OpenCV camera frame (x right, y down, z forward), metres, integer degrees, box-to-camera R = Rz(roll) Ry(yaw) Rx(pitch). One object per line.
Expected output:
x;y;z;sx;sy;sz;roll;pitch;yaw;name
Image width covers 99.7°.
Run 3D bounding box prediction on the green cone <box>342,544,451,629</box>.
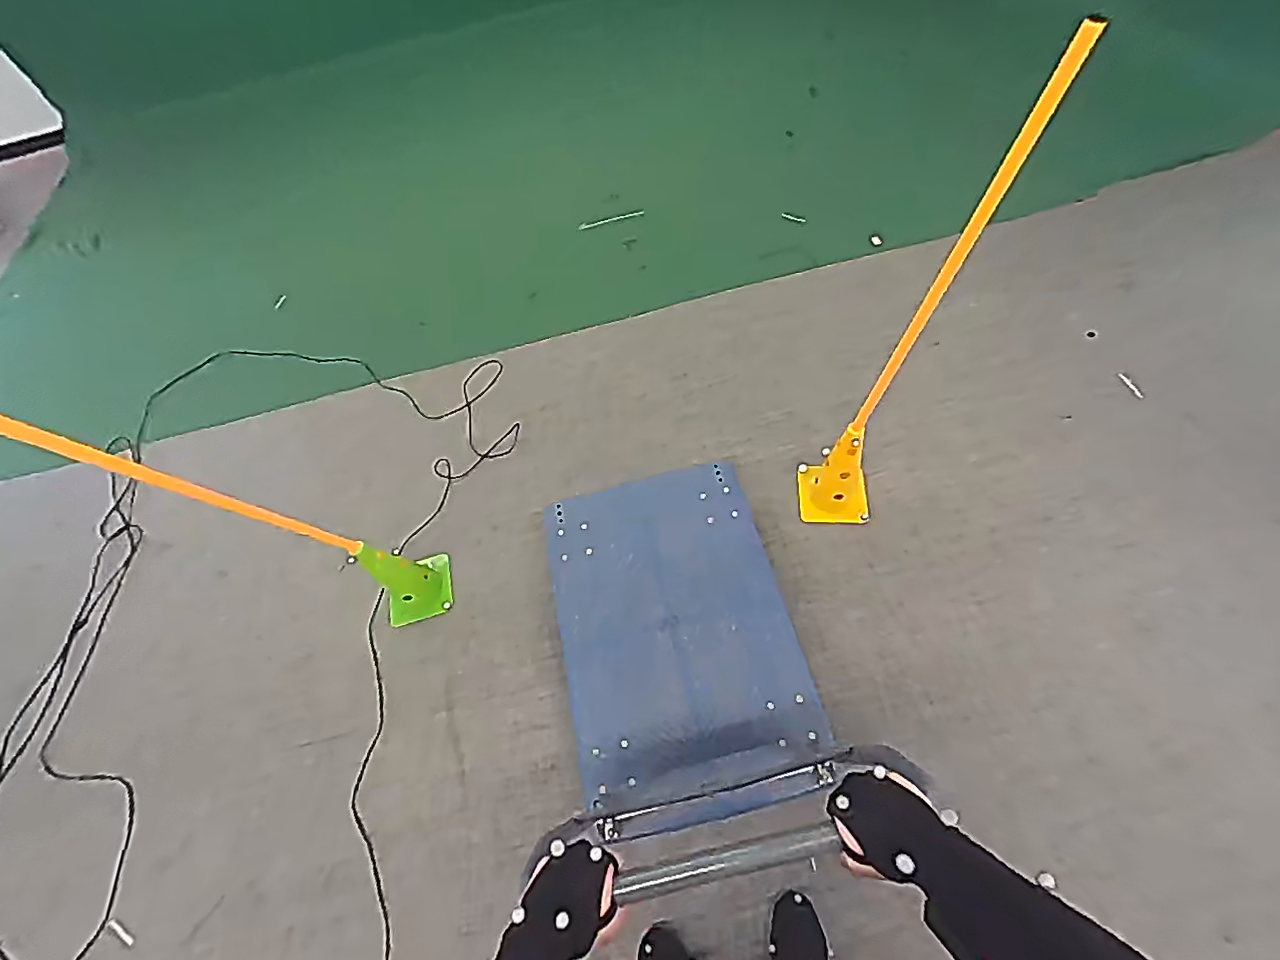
-0.727;0.268;1.567;0.202;0.368;0.200;-19;59;0;green cone
